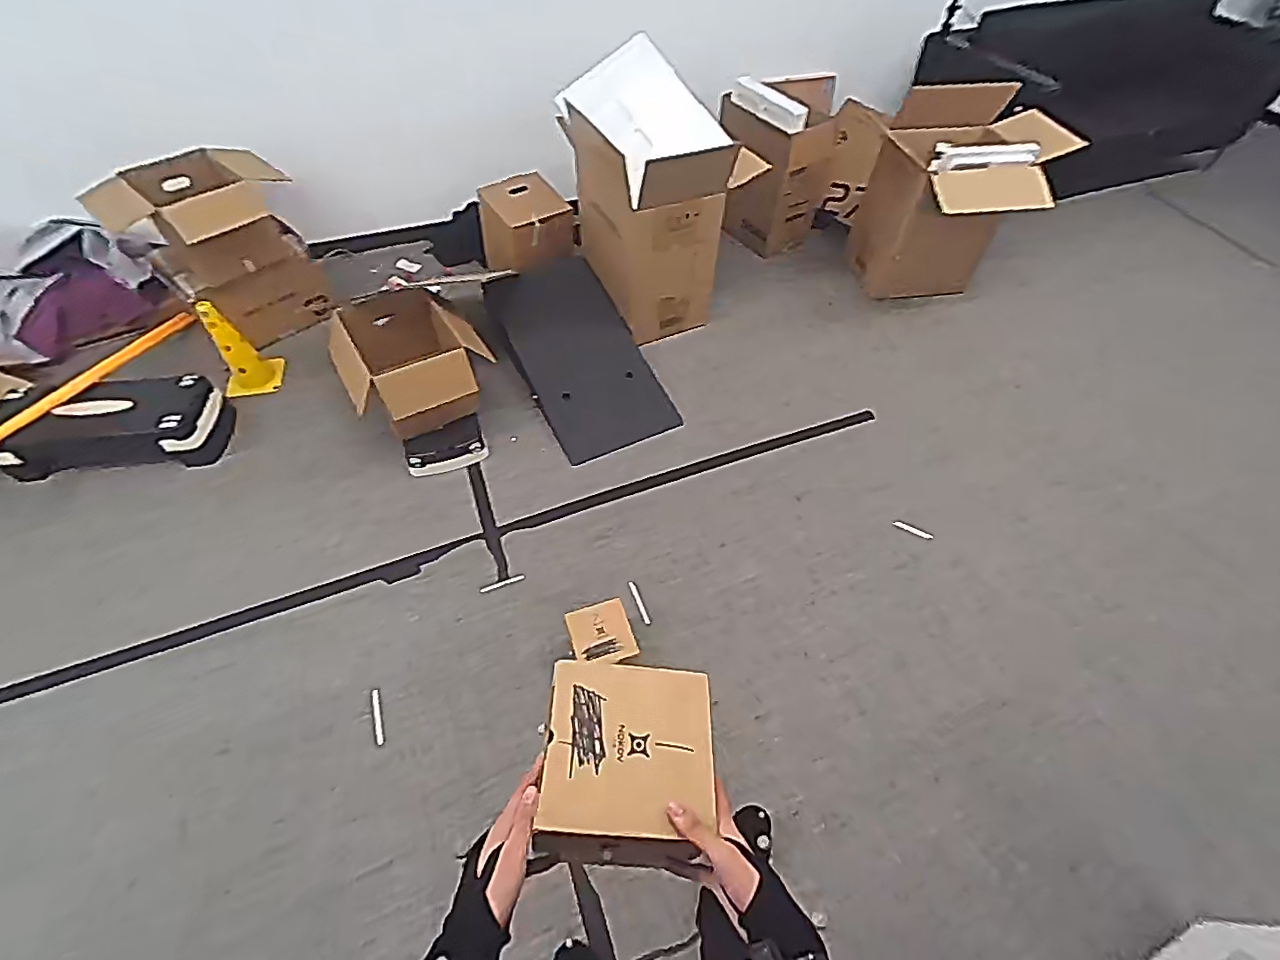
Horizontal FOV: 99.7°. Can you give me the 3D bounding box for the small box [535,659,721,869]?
[{"bbox_3d":[-0.019,0.321,0.605,0.179,0.176,0.168,8,46,-6],"label":"small box"}]
